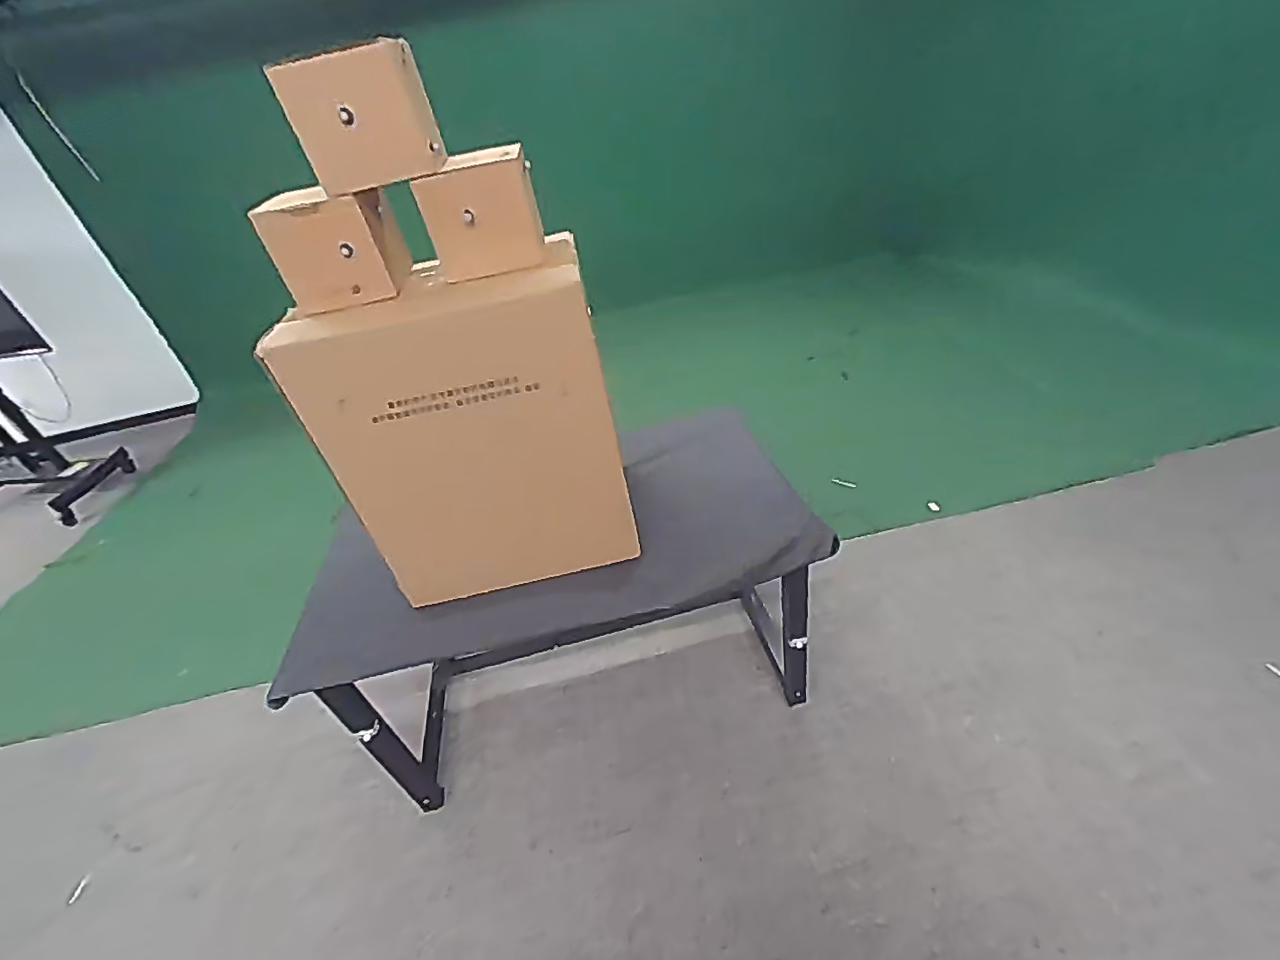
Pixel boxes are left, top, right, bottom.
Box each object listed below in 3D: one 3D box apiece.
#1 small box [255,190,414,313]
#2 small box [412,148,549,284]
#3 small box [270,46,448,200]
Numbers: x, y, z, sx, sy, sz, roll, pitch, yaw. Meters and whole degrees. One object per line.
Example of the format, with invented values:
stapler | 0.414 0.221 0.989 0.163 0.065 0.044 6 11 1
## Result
small box | -0.520 -0.407 0.954 0.168 0.176 0.179 -12 37 -3
small box | -0.270 -0.465 0.959 0.179 0.176 0.168 -13 39 0
small box | -0.423 -0.562 0.854 0.179 0.176 0.168 -15 39 0
